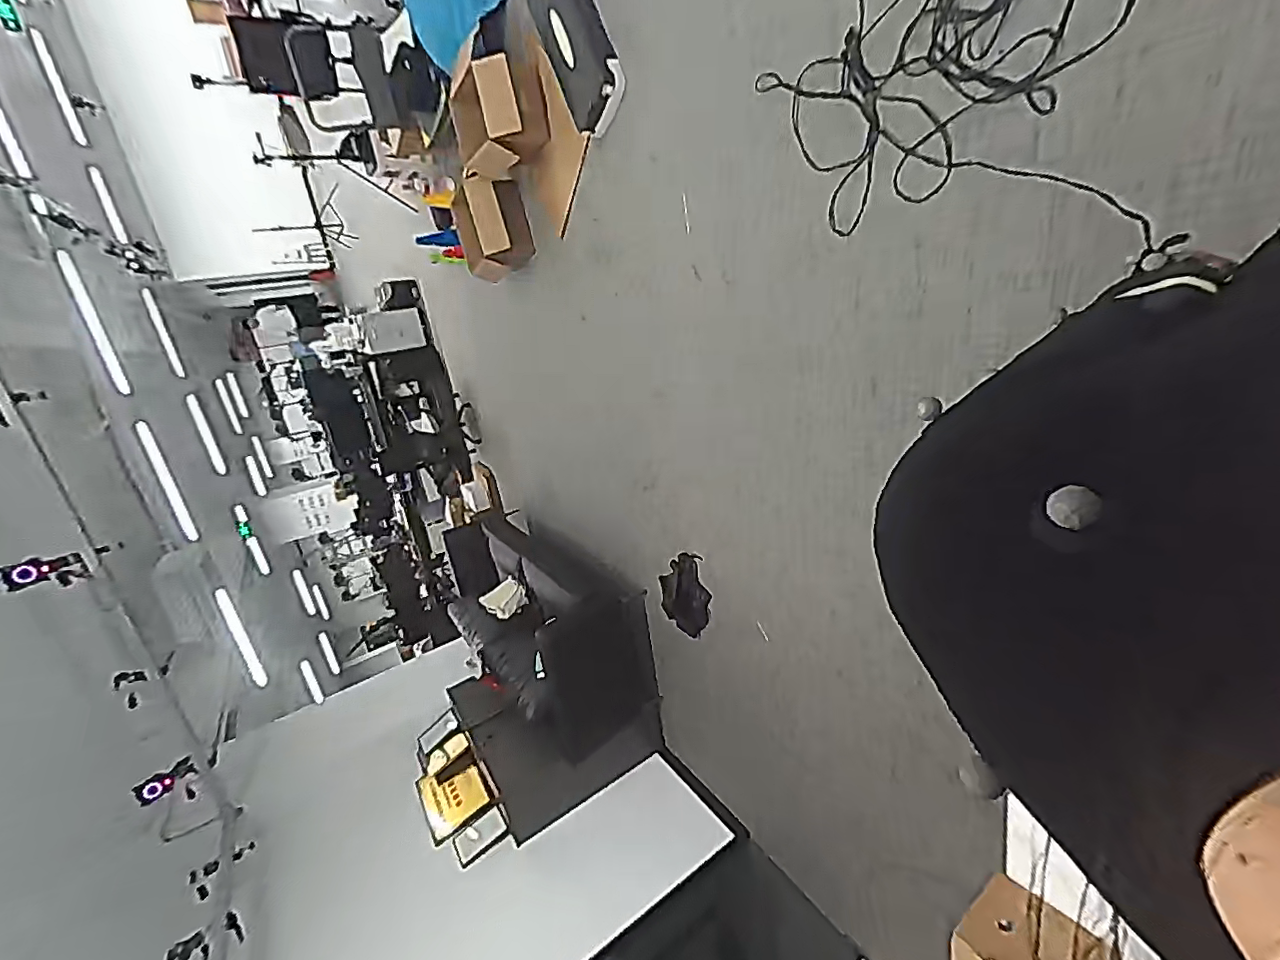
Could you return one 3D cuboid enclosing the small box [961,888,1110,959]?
[{"bbox_3d":[0.648,0.827,0.876,0.168,0.176,0.179,15,121,57],"label":"small box"}]
